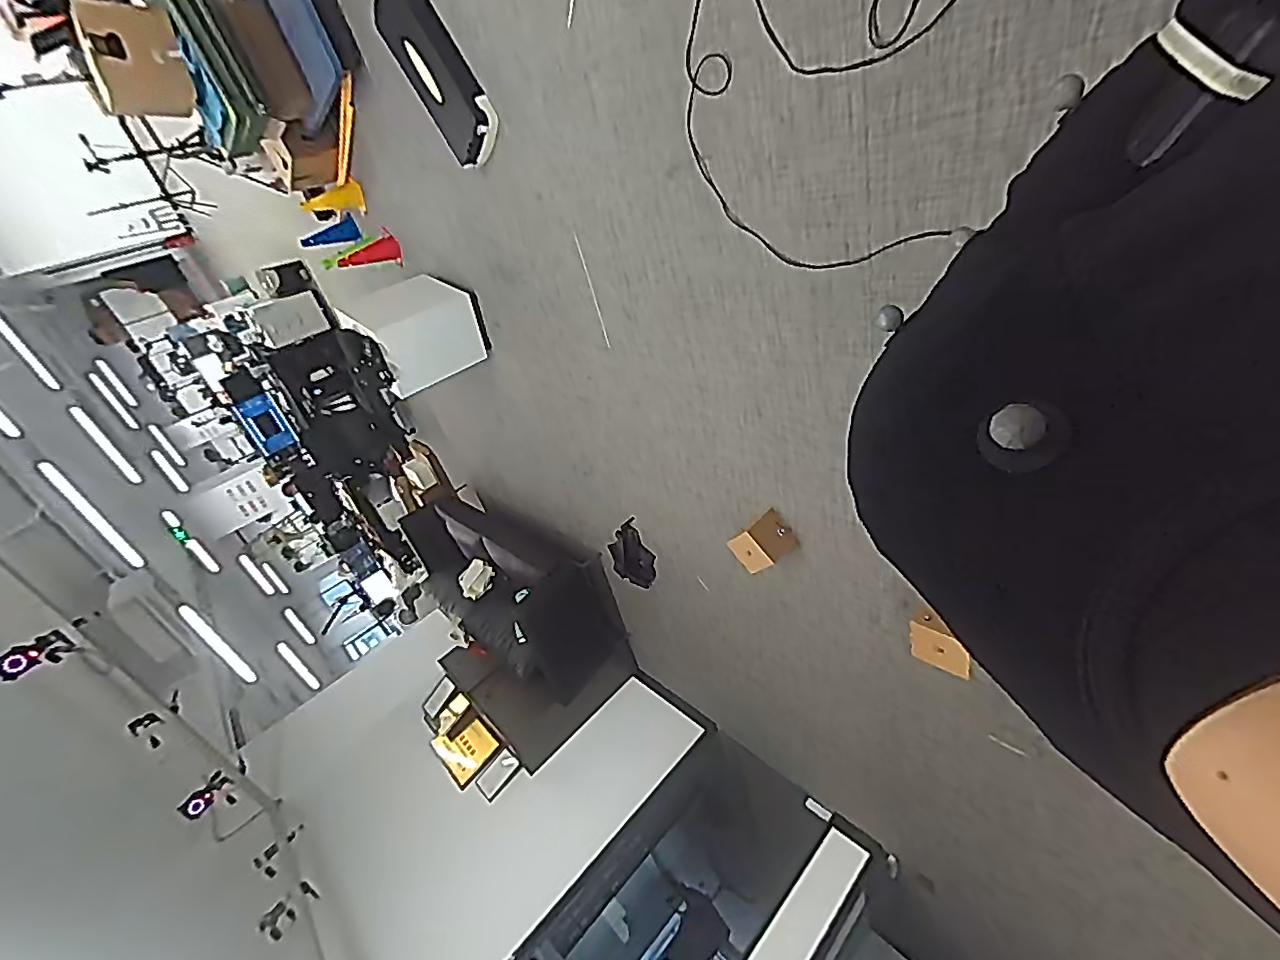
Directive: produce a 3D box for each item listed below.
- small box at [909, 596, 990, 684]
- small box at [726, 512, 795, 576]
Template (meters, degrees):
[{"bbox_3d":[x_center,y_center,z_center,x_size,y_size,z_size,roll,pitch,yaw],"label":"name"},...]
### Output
[{"bbox_3d":[0.975,0.494,1.700,0.179,0.176,0.168,18,135,47],"label":"small box"},{"bbox_3d":[0.484,0.256,2.165,0.168,0.176,0.179,50,150,6],"label":"small box"}]
